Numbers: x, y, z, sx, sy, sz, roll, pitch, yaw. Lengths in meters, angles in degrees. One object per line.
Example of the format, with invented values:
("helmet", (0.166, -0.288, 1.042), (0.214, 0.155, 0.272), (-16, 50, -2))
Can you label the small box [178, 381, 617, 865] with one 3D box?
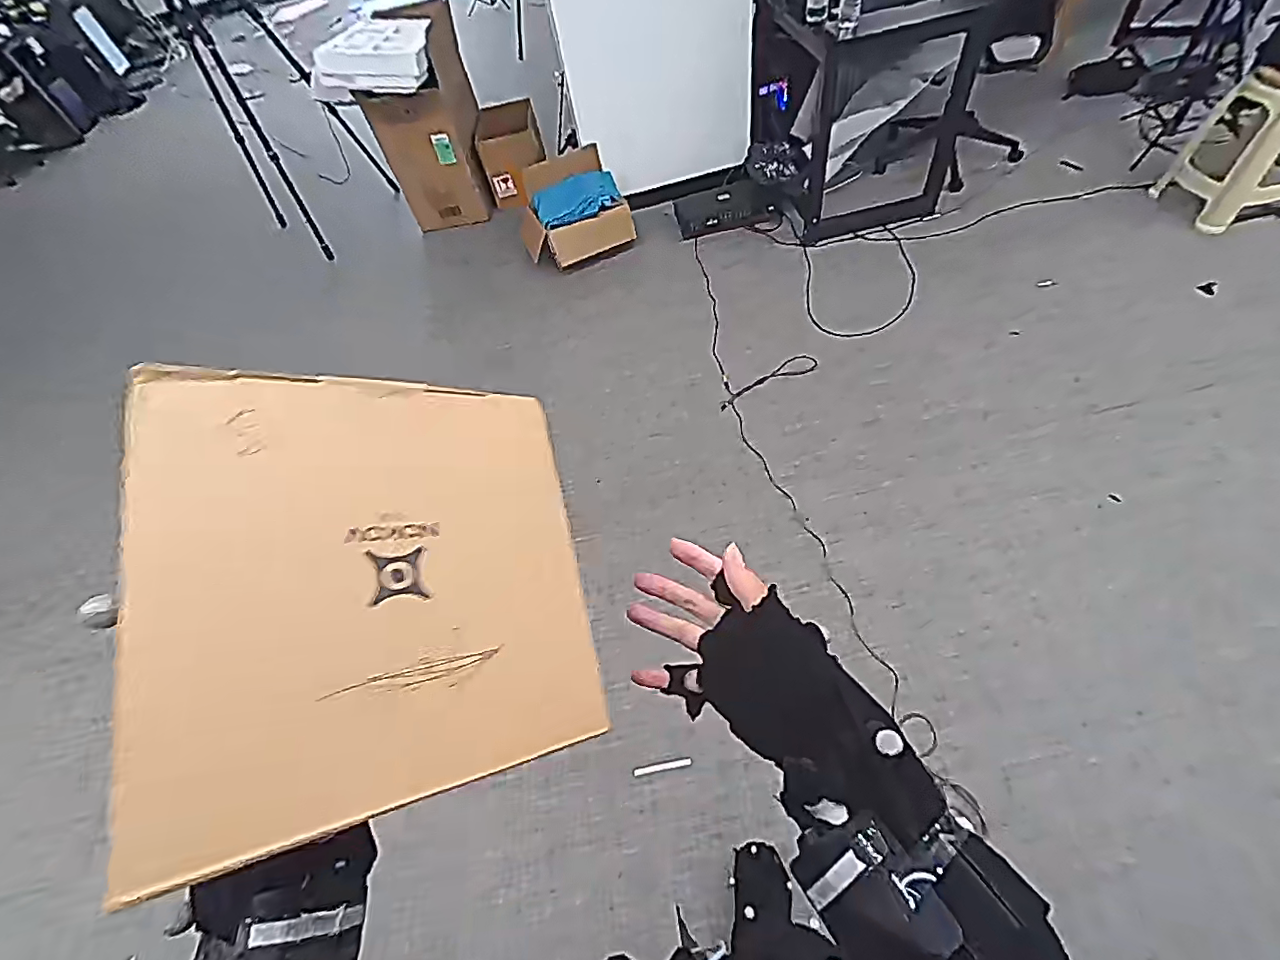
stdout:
("small box", (-0.140, 0.072, 0.295), (0.168, 0.176, 0.179), (1, 67, -38))
